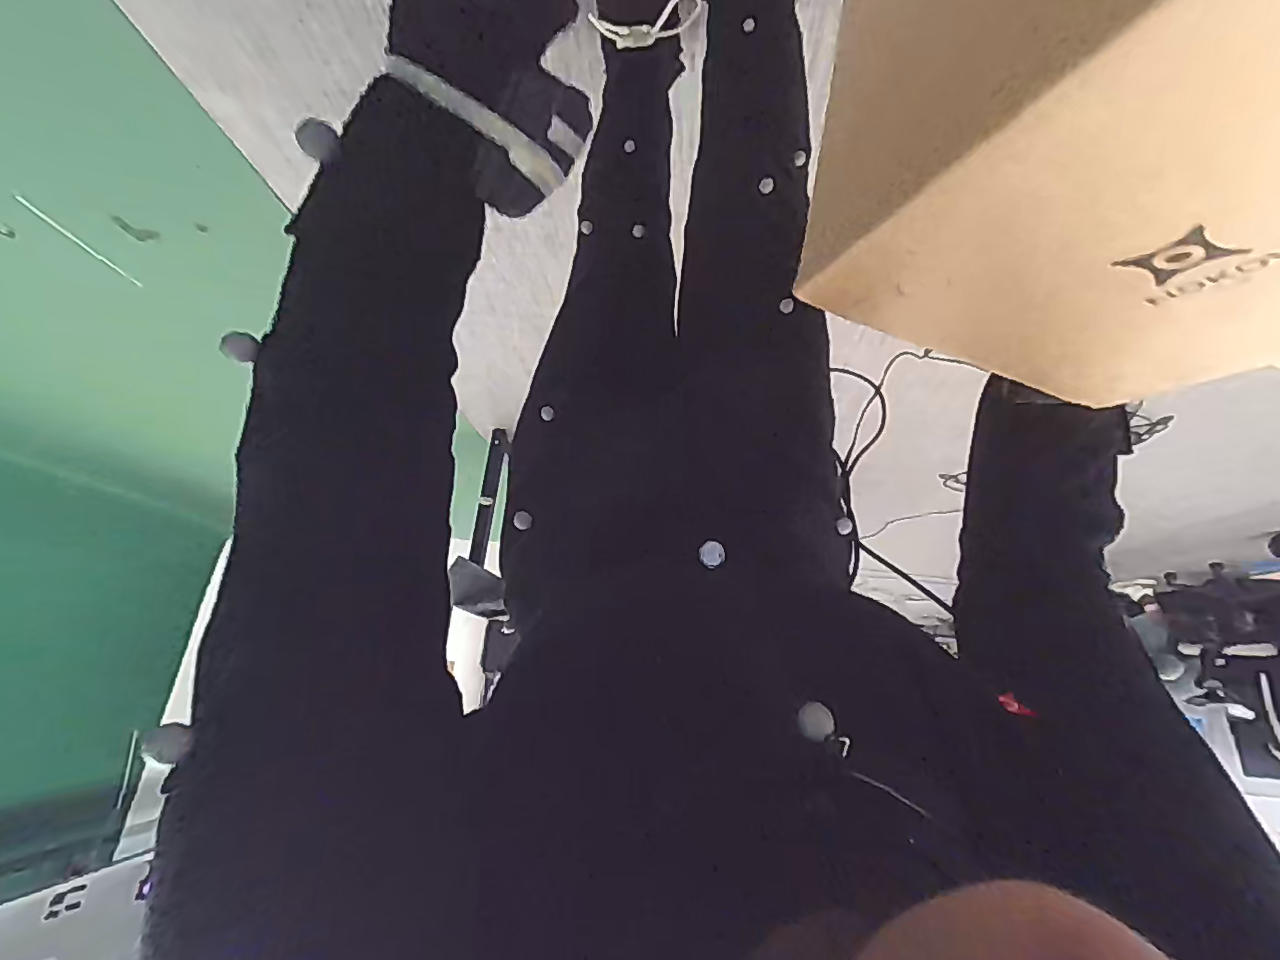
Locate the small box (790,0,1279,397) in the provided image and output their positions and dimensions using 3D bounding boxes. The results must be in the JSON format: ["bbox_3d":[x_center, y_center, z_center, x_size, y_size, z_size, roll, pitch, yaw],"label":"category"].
[{"bbox_3d":[0.177,-0.150,0.183,0.179,0.176,0.168,13,169,-16],"label":"small box"}]
